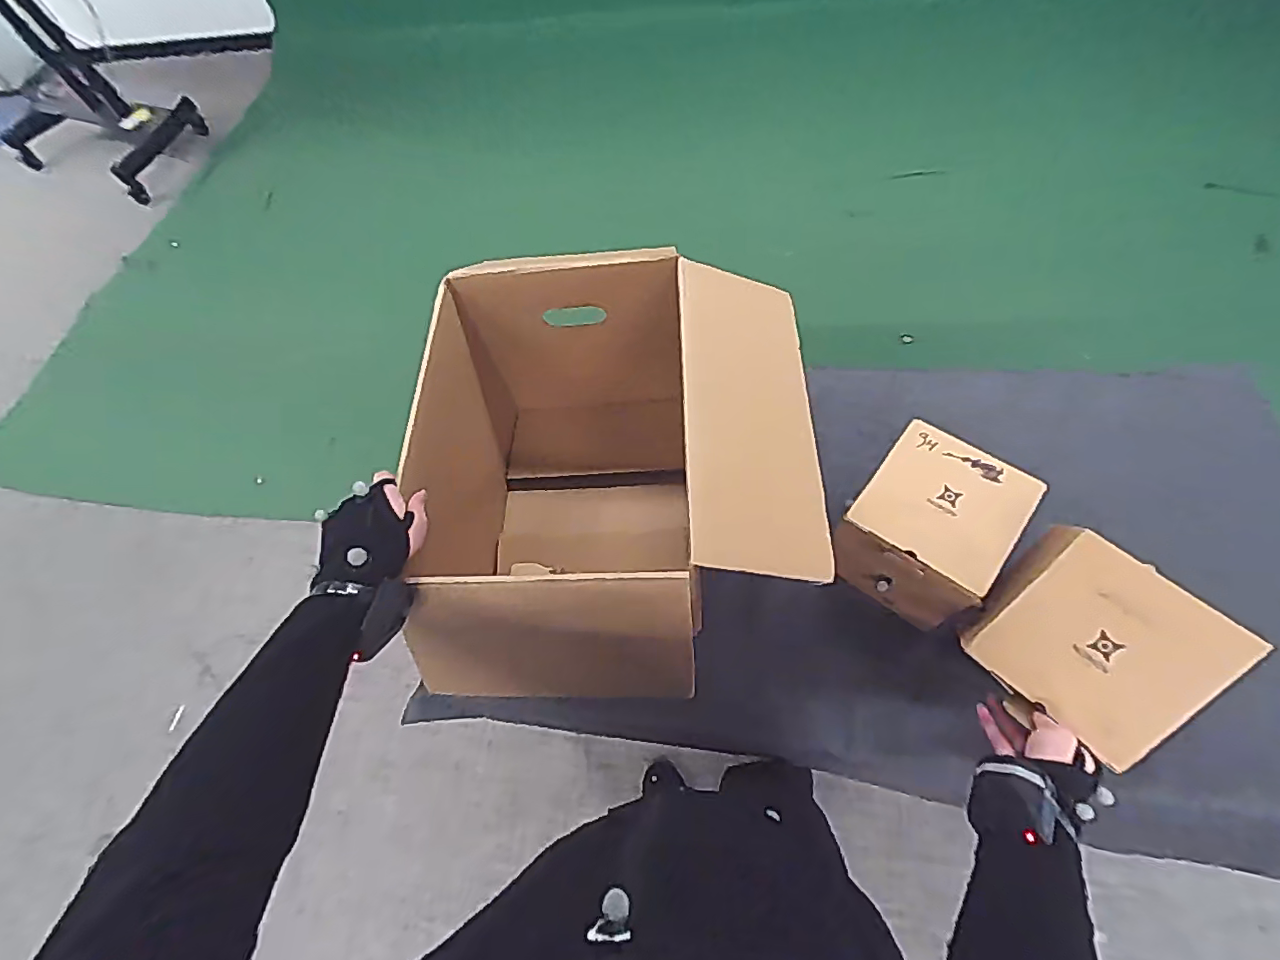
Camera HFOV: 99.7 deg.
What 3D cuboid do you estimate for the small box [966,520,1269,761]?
[{"bbox_3d":[0.496,0.161,0.602,0.168,0.176,0.179,41,106,24],"label":"small box"}]
